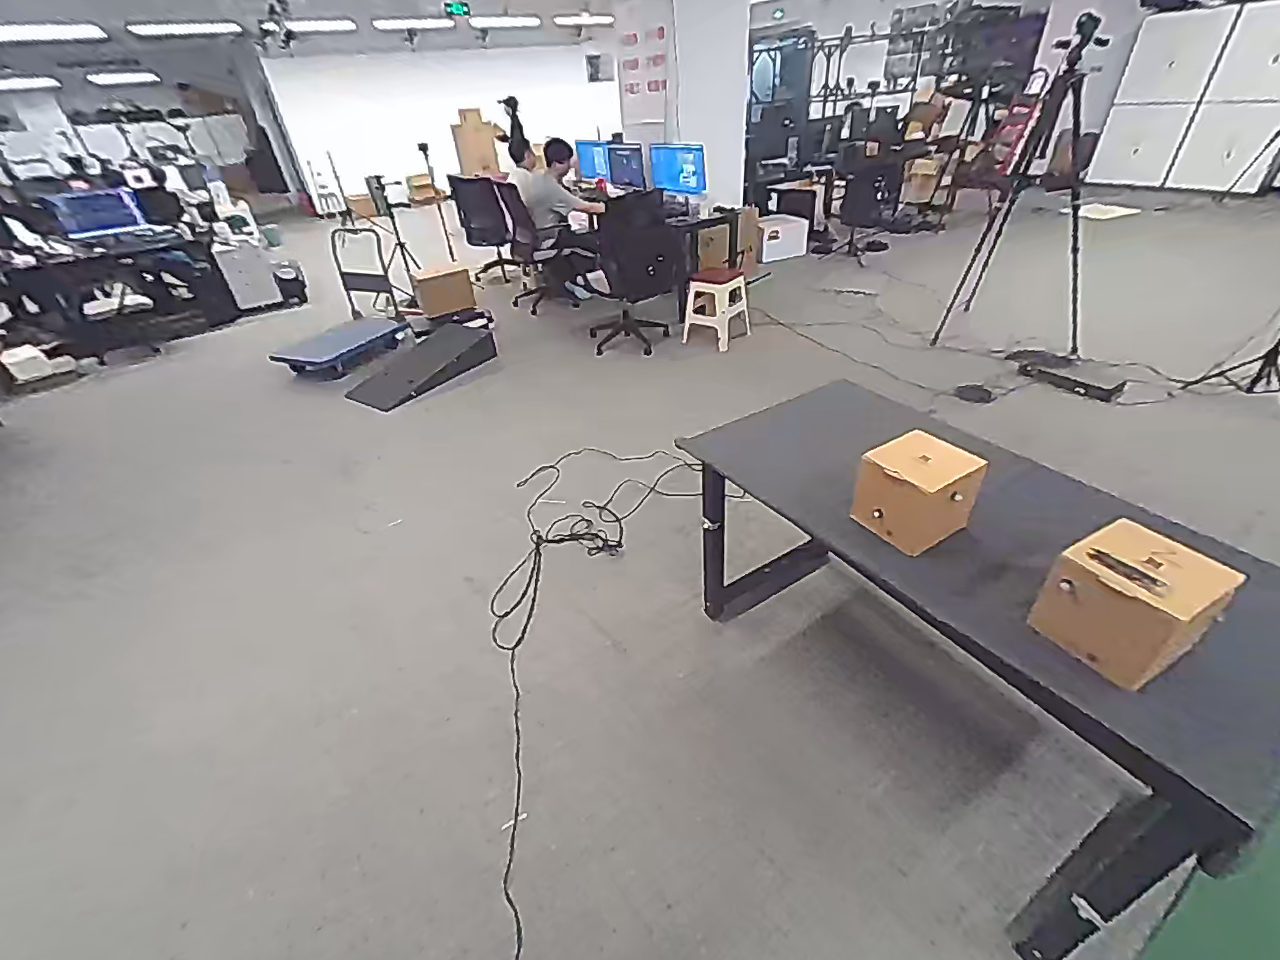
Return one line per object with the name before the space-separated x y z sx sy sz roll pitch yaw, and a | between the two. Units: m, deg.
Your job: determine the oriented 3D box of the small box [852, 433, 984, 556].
small box | 0.578 0.029 1.149 0.179 0.176 0.168 -21 40 -23
